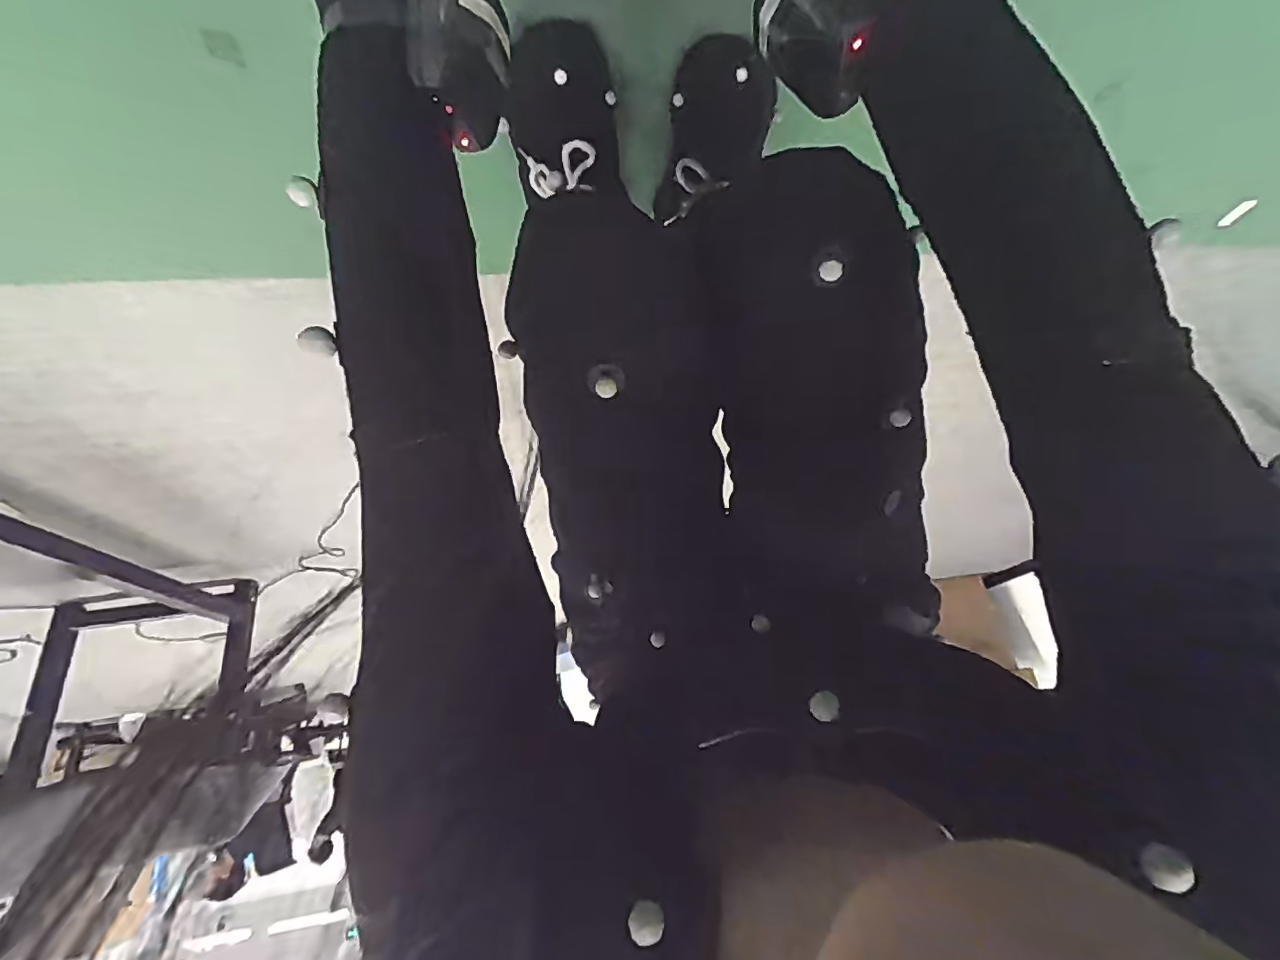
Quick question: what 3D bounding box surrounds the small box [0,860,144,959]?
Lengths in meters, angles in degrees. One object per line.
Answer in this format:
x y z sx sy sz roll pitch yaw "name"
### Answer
-1.309 1.007 1.249 0.168 0.176 0.179 -4 155 -11 "small box"
